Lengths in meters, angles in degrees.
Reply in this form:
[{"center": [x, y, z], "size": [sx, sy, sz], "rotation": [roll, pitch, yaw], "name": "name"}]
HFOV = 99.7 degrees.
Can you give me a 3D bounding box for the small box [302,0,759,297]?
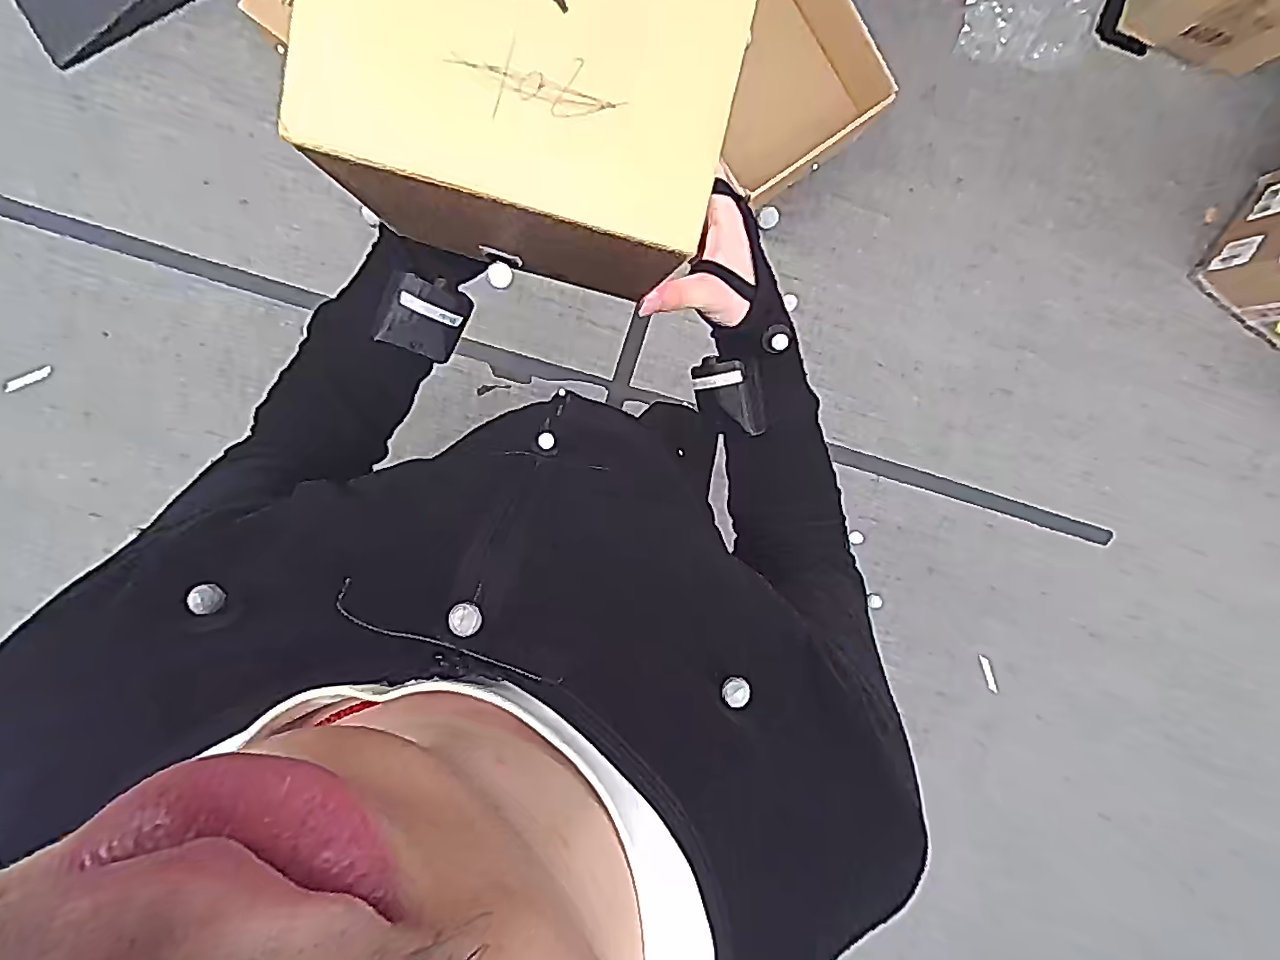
[{"center": [-0.045, -0.215, 0.290], "size": [0.168, 0.176, 0.179], "rotation": [12, 99, -10], "name": "small box"}]
